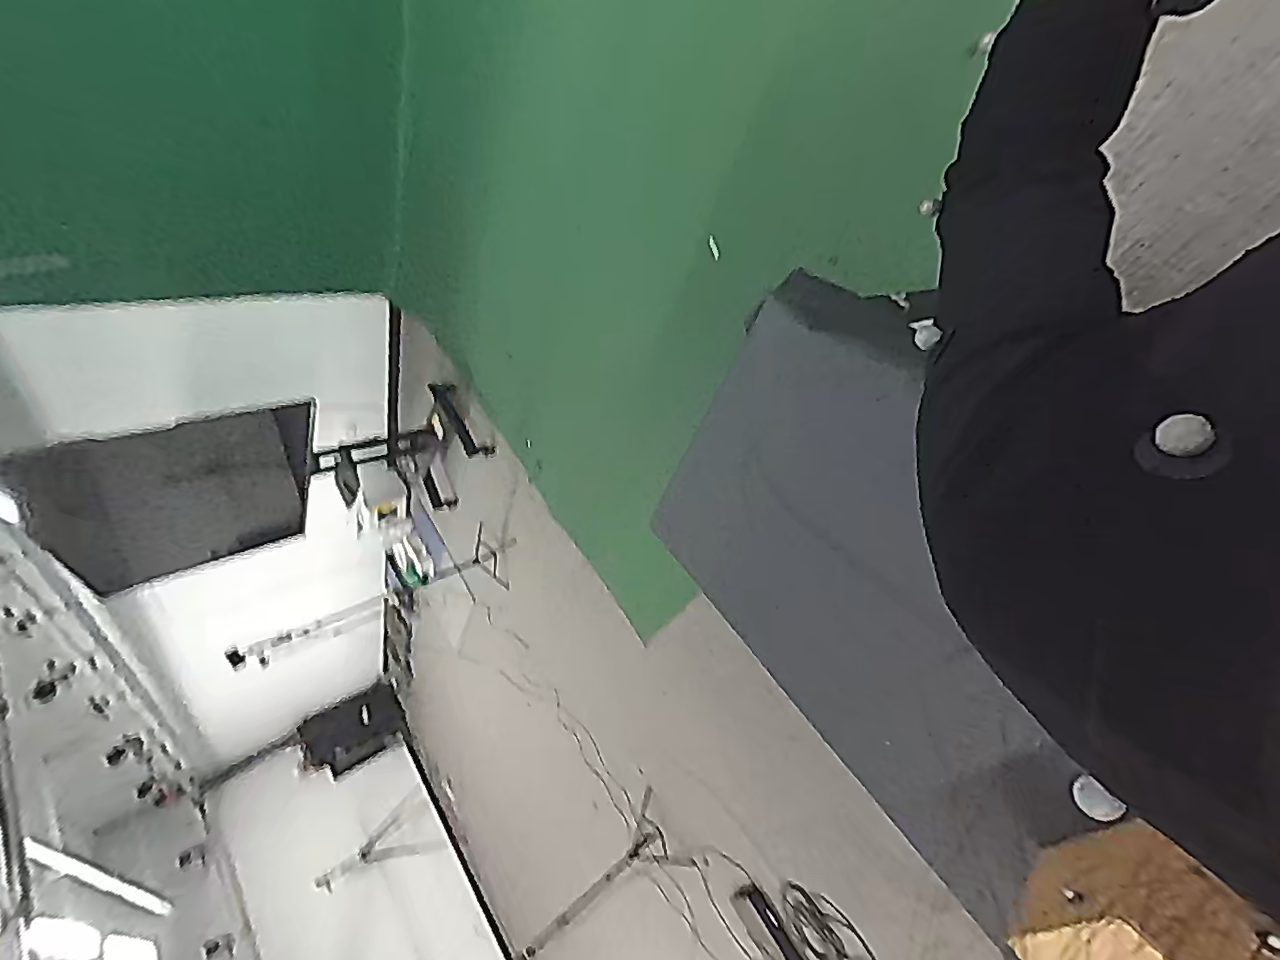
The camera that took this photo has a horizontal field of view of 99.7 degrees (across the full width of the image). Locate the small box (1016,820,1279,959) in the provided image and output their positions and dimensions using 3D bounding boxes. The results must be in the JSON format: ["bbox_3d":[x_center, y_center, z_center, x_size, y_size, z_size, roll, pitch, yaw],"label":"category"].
[{"bbox_3d":[0.601,0.545,0.638,0.168,0.176,0.179,47,137,27],"label":"small box"}]
